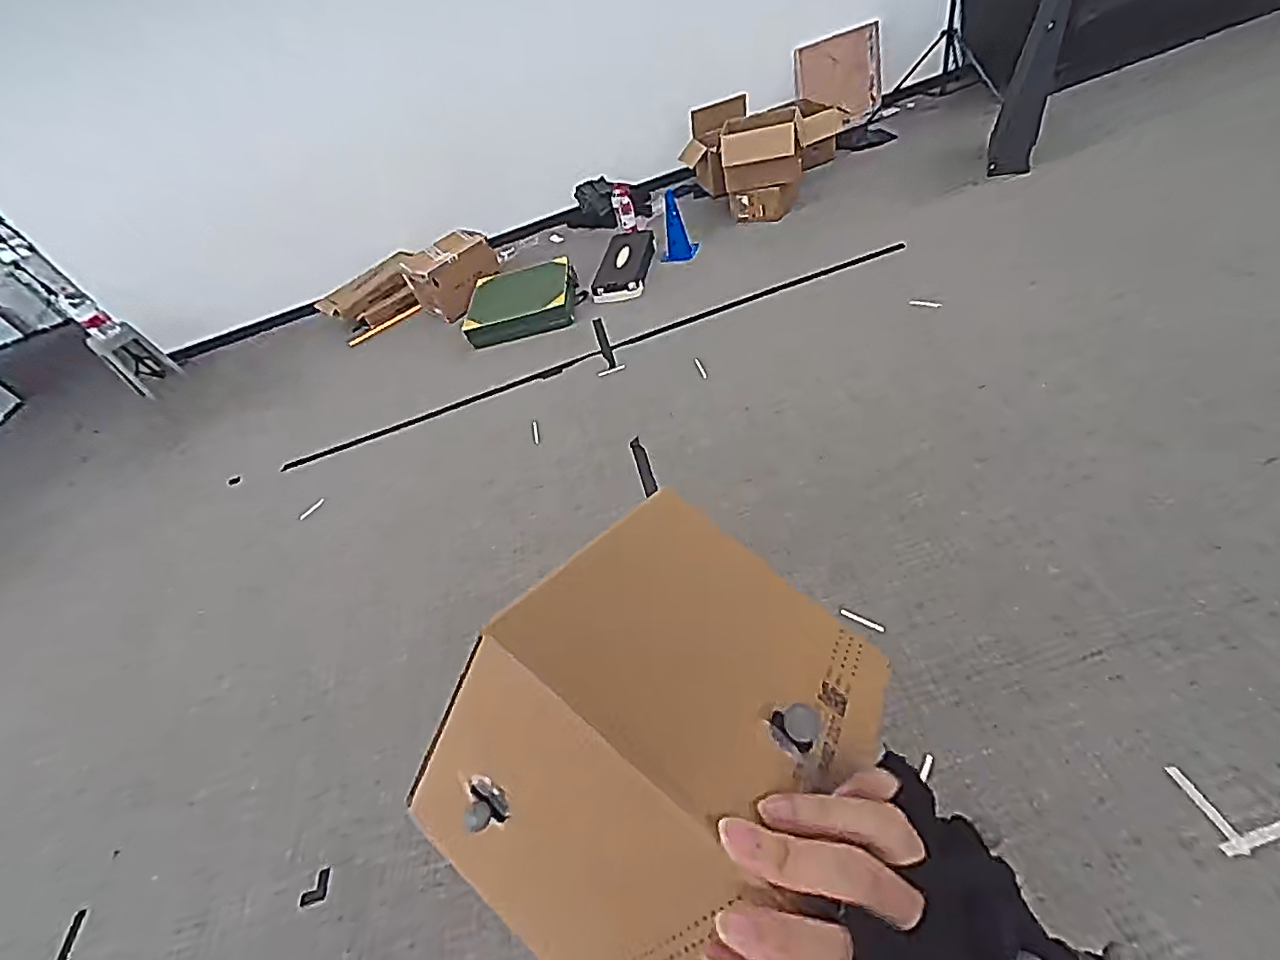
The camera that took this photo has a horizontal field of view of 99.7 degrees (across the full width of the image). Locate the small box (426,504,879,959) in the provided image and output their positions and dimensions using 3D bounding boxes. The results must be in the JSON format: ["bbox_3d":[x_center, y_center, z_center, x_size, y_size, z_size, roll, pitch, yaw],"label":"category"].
[{"bbox_3d":[0.009,0.152,0.323,0.176,0.179,0.168,37,33,12],"label":"small box"}]
